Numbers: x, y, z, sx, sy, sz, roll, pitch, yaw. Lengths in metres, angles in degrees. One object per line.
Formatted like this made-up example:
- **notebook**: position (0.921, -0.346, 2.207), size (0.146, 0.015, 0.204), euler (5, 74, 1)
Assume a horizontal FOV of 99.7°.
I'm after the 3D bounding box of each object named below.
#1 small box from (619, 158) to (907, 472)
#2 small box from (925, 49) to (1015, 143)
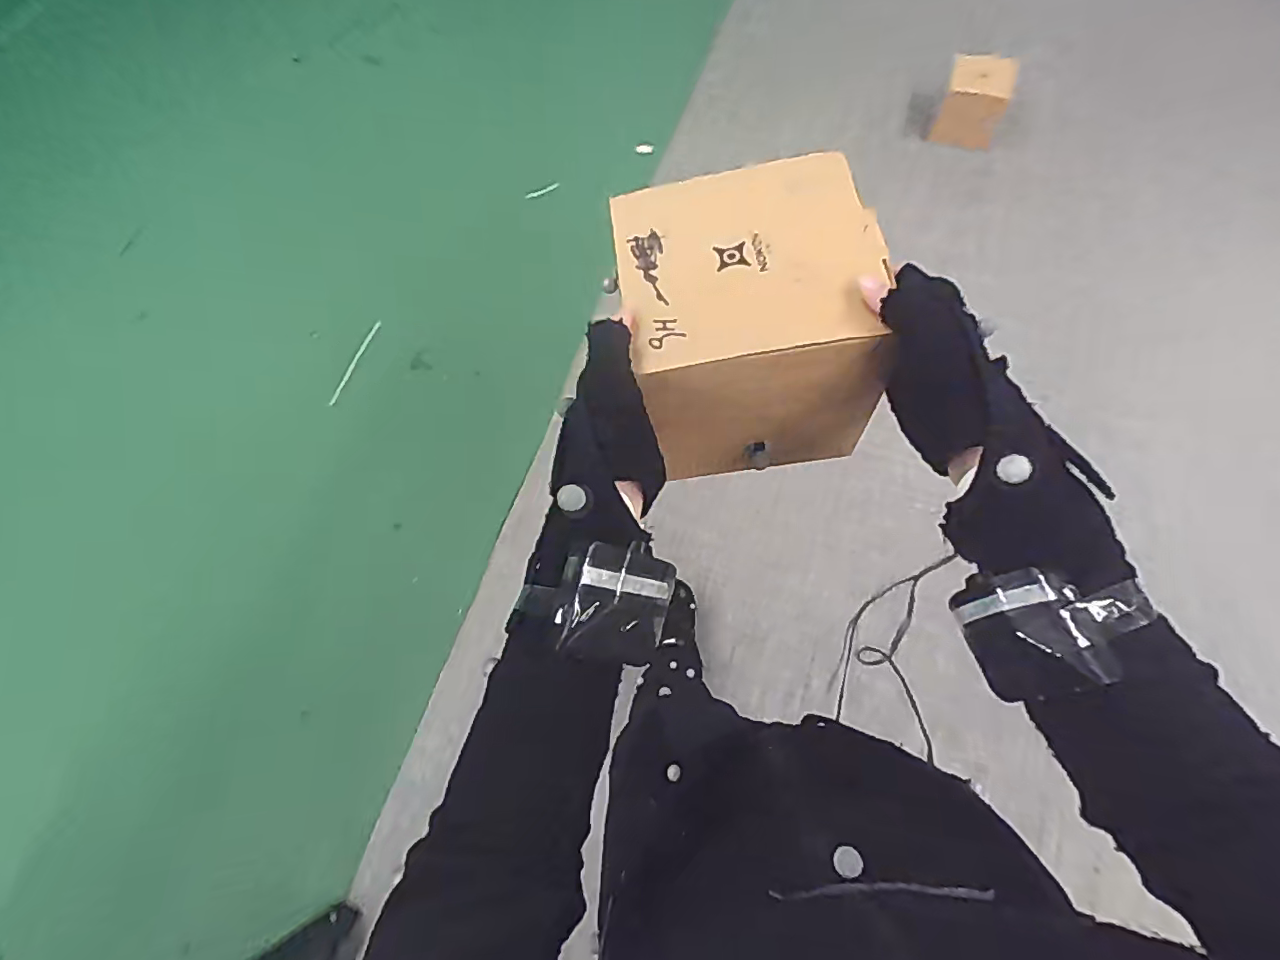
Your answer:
- **small box**: position (0.084, -0.120, 0.443), size (0.179, 0.176, 0.168), euler (-7, 65, 5)
- **small box**: position (1.004, -1.166, 1.653), size (0.179, 0.176, 0.168), euler (14, 72, 12)
